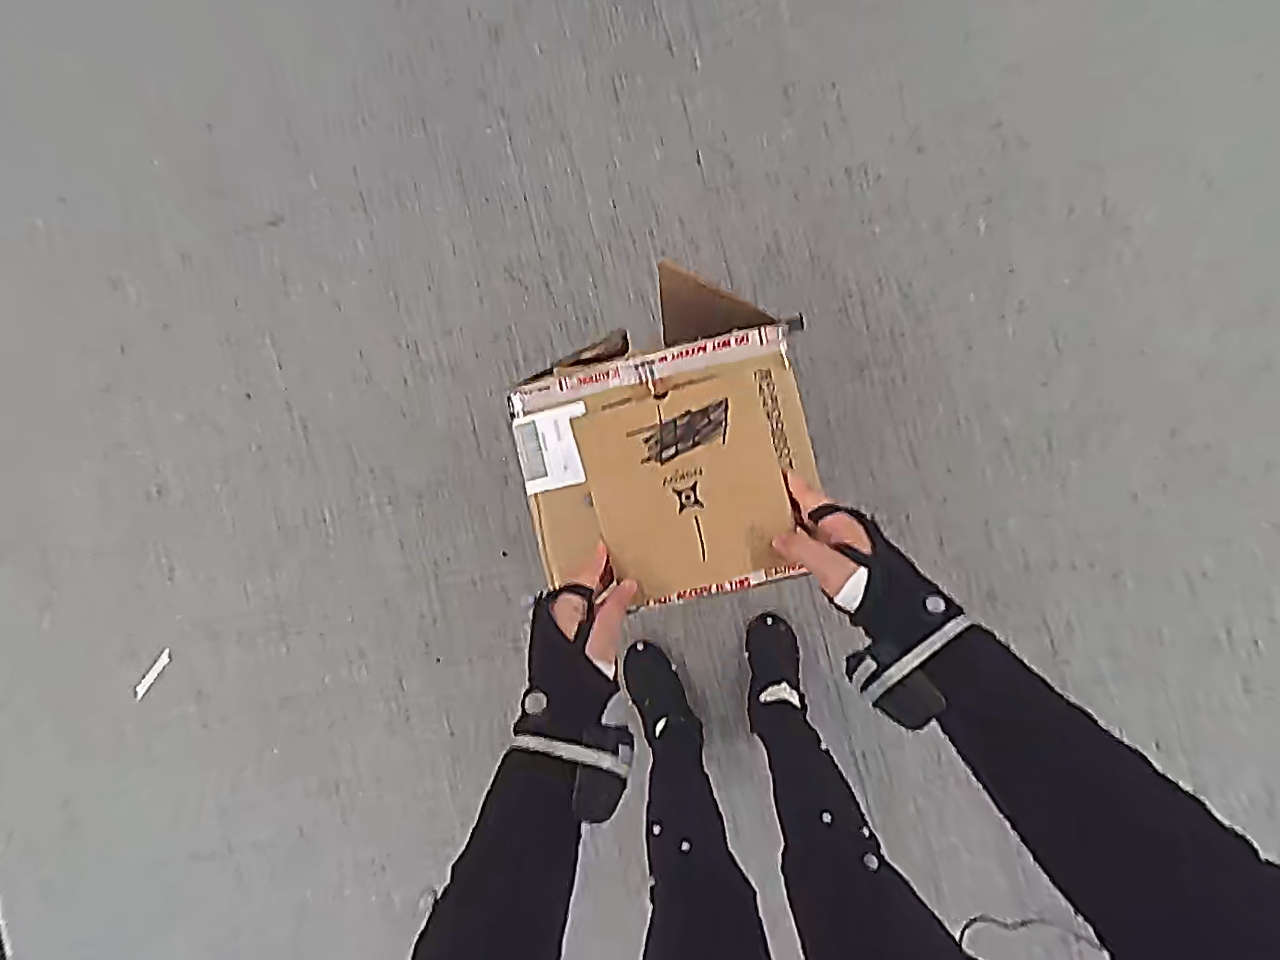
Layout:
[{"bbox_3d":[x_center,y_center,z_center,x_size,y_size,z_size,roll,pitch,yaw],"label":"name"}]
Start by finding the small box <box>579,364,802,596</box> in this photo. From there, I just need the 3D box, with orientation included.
[{"bbox_3d":[0.046,-0.002,0.560,0.168,0.176,0.179,-16,92,3],"label":"small box"}]
